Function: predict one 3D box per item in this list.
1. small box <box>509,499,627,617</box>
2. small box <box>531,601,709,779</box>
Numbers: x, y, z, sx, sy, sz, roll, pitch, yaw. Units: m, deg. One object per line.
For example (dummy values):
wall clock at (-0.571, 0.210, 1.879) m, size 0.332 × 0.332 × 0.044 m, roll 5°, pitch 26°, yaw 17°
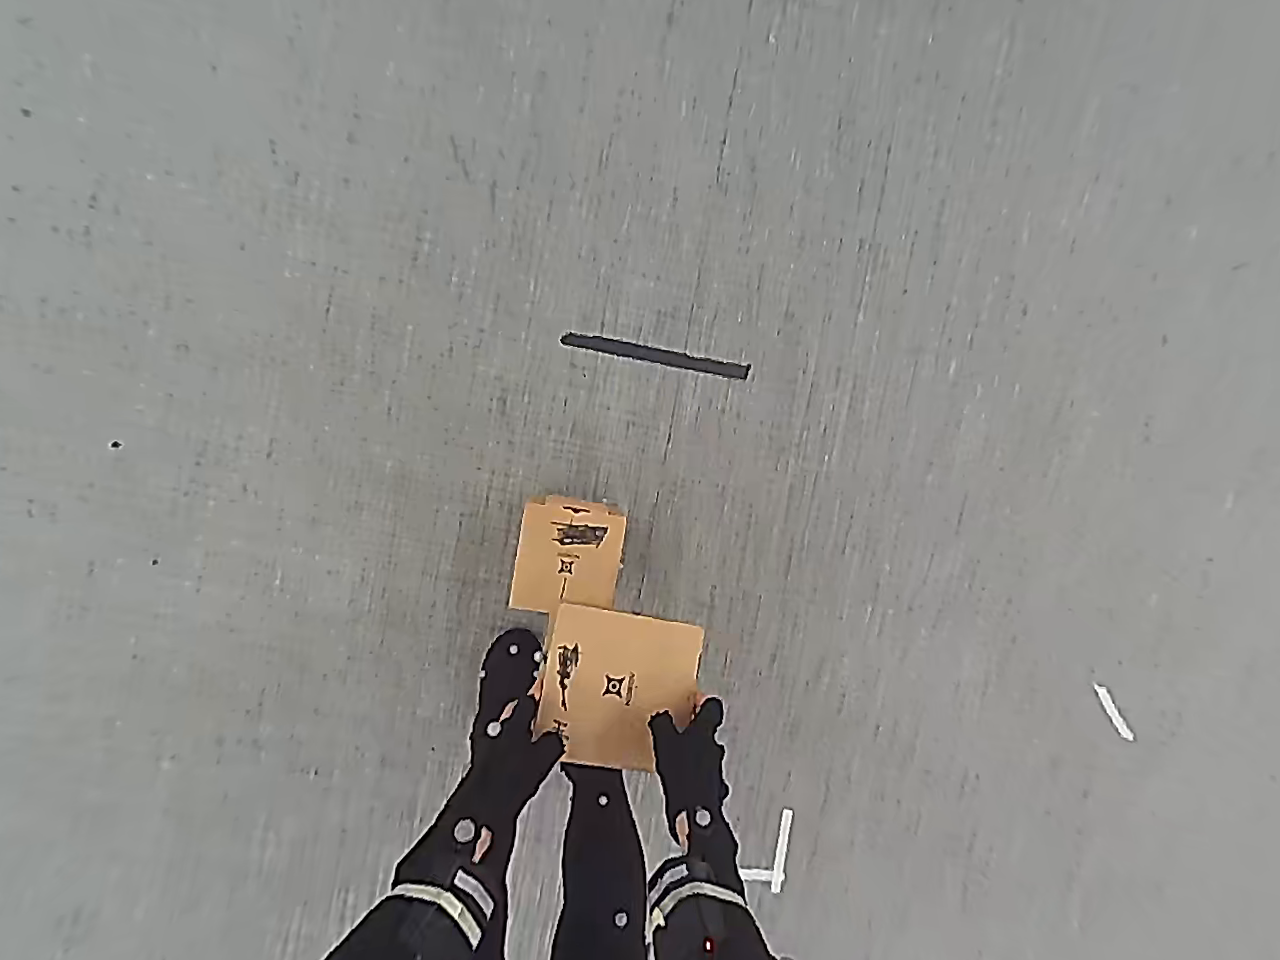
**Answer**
small box at (-0.124, 0.132, 0.939) m, size 0.168 × 0.176 × 0.179 m, roll 10°, pitch 91°, yaw -7°
small box at (-0.033, 0.249, 0.679) m, size 0.179 × 0.176 × 0.168 m, roll 13°, pitch 77°, yaw -9°
